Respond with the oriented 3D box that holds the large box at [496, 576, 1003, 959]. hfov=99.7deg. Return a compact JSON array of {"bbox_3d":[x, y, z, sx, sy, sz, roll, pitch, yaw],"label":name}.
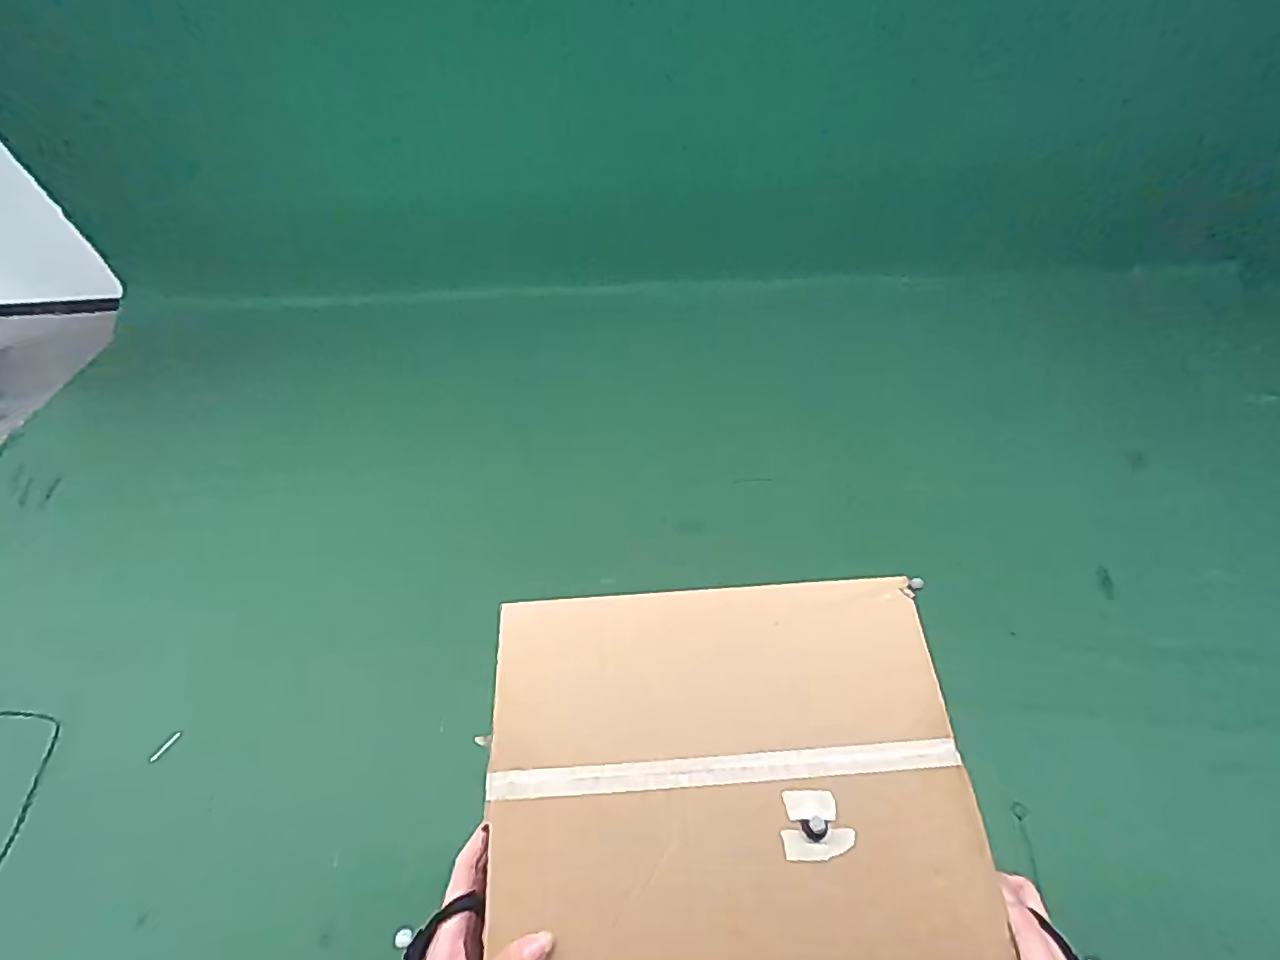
[{"bbox_3d":[0.076,0.316,0.612,0.408,0.320,0.320,-4,64,-1],"label":"large box"}]
